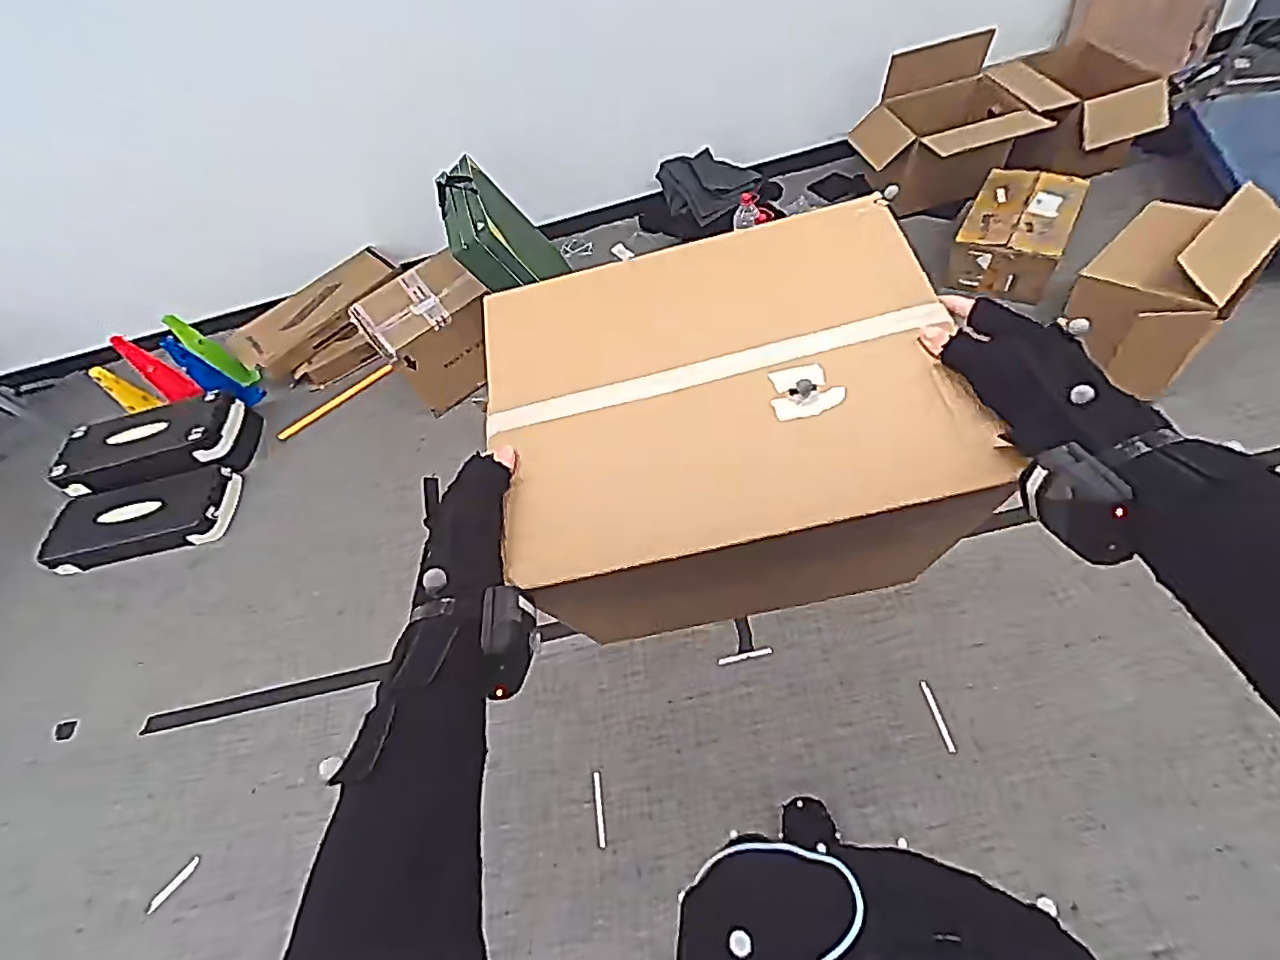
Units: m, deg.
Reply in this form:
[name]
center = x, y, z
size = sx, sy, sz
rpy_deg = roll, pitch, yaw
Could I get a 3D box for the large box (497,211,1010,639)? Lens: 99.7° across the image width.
[large box]
center = 0.090, -0.032, 0.625
size = 0.408, 0.320, 0.320
rpy_deg = -13, 65, 3
